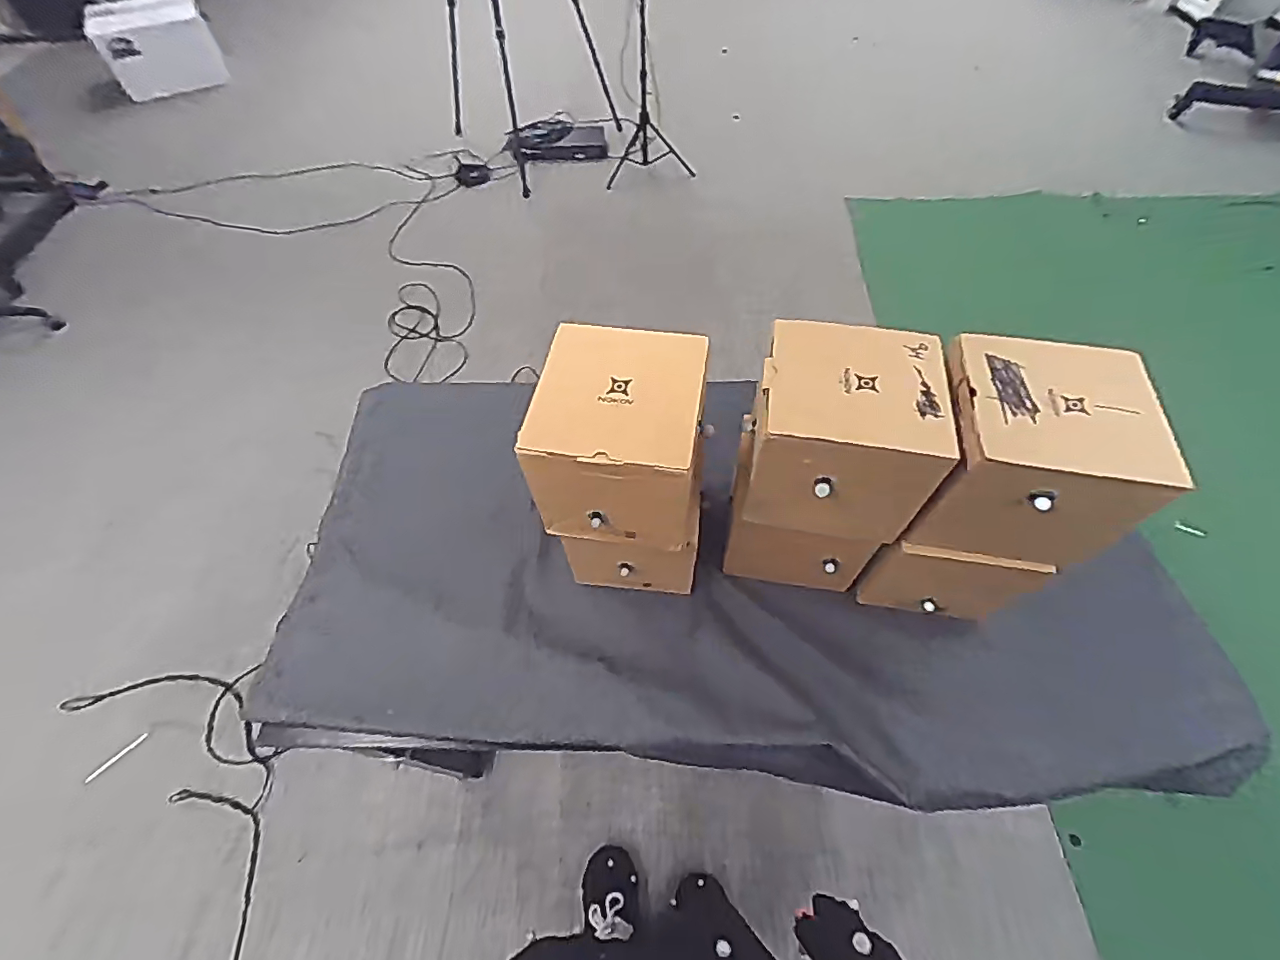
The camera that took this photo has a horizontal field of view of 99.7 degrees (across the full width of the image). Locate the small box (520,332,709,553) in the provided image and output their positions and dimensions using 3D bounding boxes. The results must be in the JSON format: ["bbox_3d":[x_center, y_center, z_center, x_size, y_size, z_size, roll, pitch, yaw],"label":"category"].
[{"bbox_3d":[-0.018,-0.039,0.611,0.168,0.176,0.179,6,59,7],"label":"small box"}]
